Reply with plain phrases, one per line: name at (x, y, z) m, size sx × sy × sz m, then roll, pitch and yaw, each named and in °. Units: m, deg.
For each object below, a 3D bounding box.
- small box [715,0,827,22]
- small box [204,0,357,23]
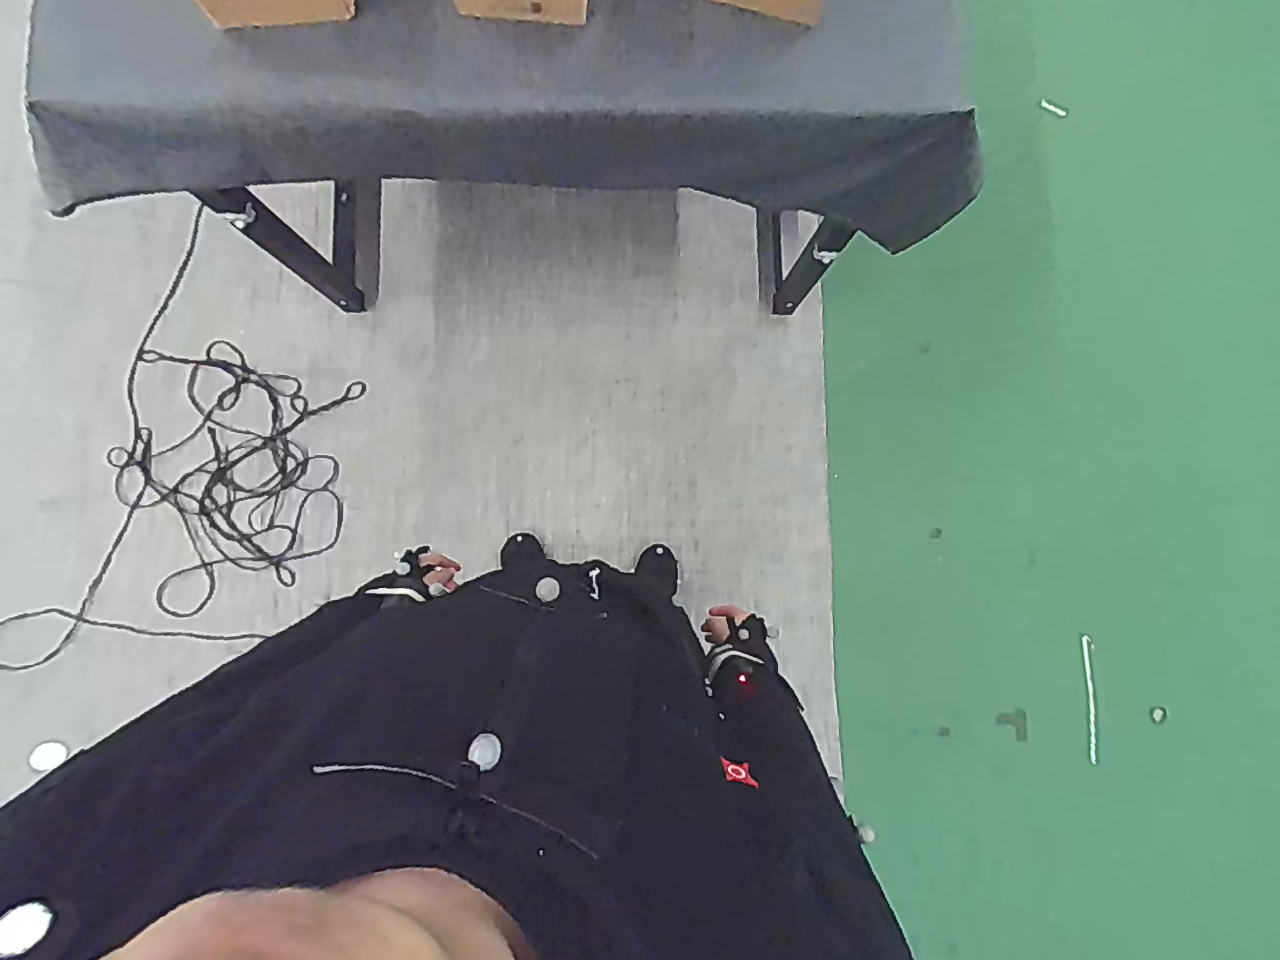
small box at (0.178, -0.705, 0.646) m, size 0.179 × 0.176 × 0.168 m, roll 14°, pitch 83°, yaw 0°
small box at (-0.454, -0.670, 0.616) m, size 0.179 × 0.176 × 0.168 m, roll -7°, pitch 85°, yaw -4°
